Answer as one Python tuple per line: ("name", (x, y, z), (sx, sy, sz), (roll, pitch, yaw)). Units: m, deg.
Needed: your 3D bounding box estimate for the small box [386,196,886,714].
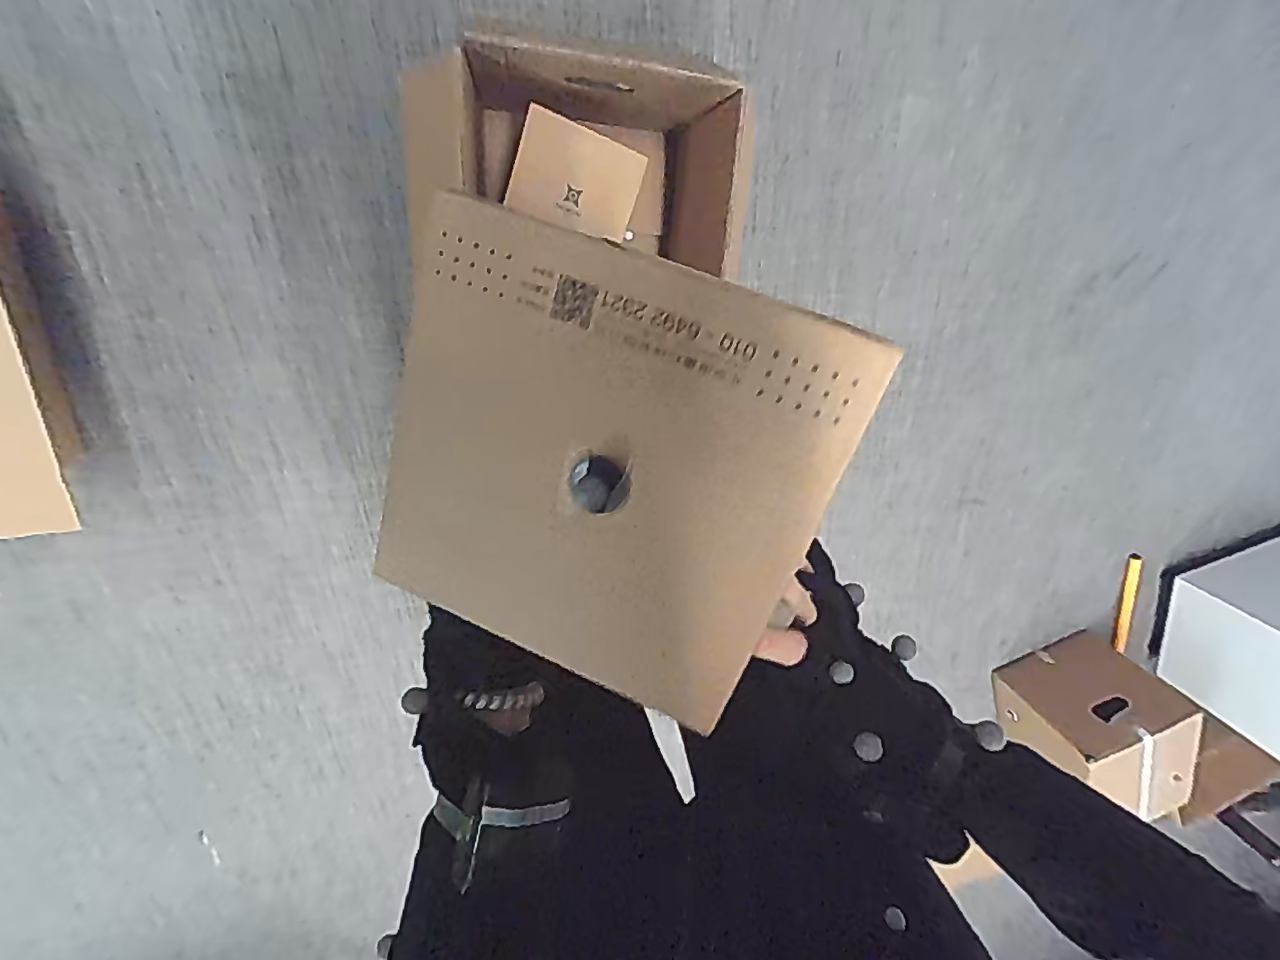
("small box", (0.003, -0.028, 0.281), (0.168, 0.179, 0.176), (22, 111, 7))
